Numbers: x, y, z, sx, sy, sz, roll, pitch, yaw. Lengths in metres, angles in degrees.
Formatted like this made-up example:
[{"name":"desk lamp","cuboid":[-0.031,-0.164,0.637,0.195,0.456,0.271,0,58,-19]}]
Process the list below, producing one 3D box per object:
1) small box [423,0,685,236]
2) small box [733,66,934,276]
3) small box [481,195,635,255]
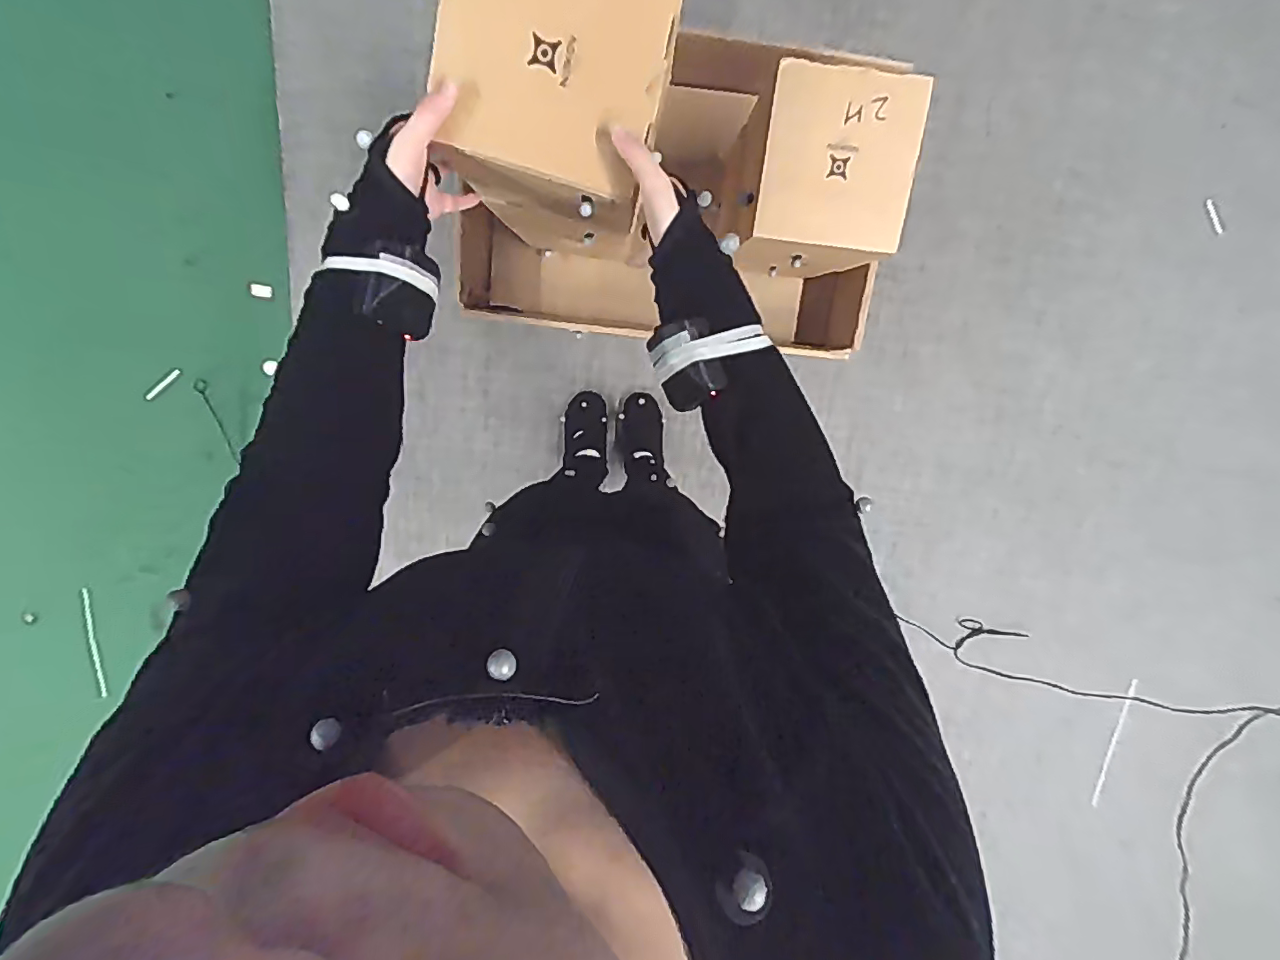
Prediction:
[{"name":"small box","cuboid":[-0.071,-0.341,0.495,0.179,0.176,0.168,14,103,-6]},{"name":"small box","cuboid":[0.215,-0.355,0.658,0.168,0.176,0.179,7,105,-2]},{"name":"small box","cuboid":[-0.078,-0.386,0.651,0.168,0.176,0.179,11,103,-4]}]
